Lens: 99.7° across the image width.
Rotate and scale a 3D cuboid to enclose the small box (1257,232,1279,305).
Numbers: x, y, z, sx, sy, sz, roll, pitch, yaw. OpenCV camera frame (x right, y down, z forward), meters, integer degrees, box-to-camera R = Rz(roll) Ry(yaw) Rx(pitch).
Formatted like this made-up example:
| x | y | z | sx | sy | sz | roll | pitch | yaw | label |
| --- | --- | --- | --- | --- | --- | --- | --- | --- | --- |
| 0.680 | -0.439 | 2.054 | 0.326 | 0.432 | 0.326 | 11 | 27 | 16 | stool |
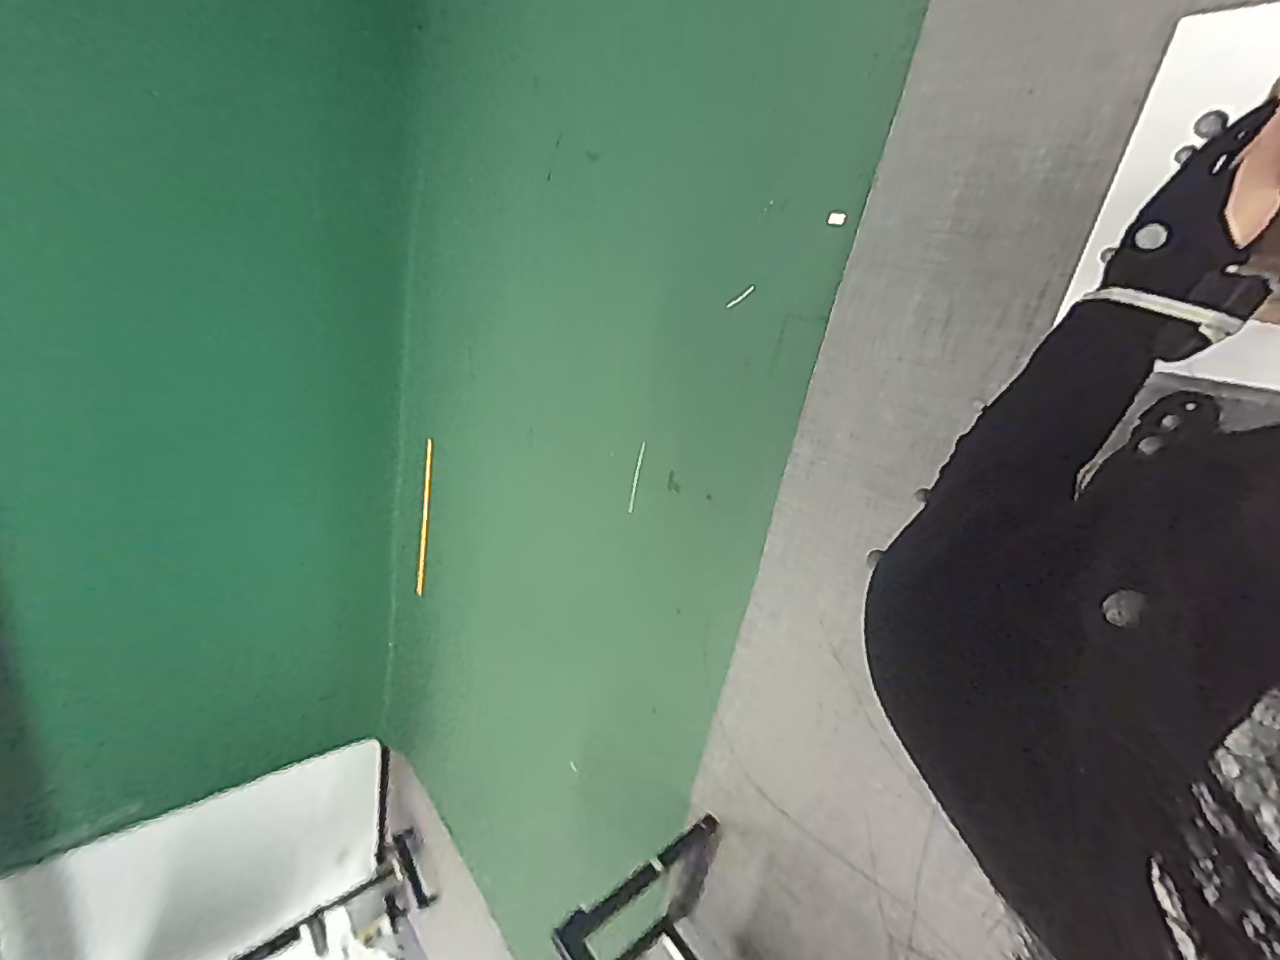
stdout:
| x | y | z | sx | sy | sz | roll | pitch | yaw | label |
| --- | --- | --- | --- | --- | --- | --- | --- | --- | --- |
| 0.710 | -0.243 | 0.481 | 0.168 | 0.176 | 0.179 | 35 | 119 | 39 | small box |
